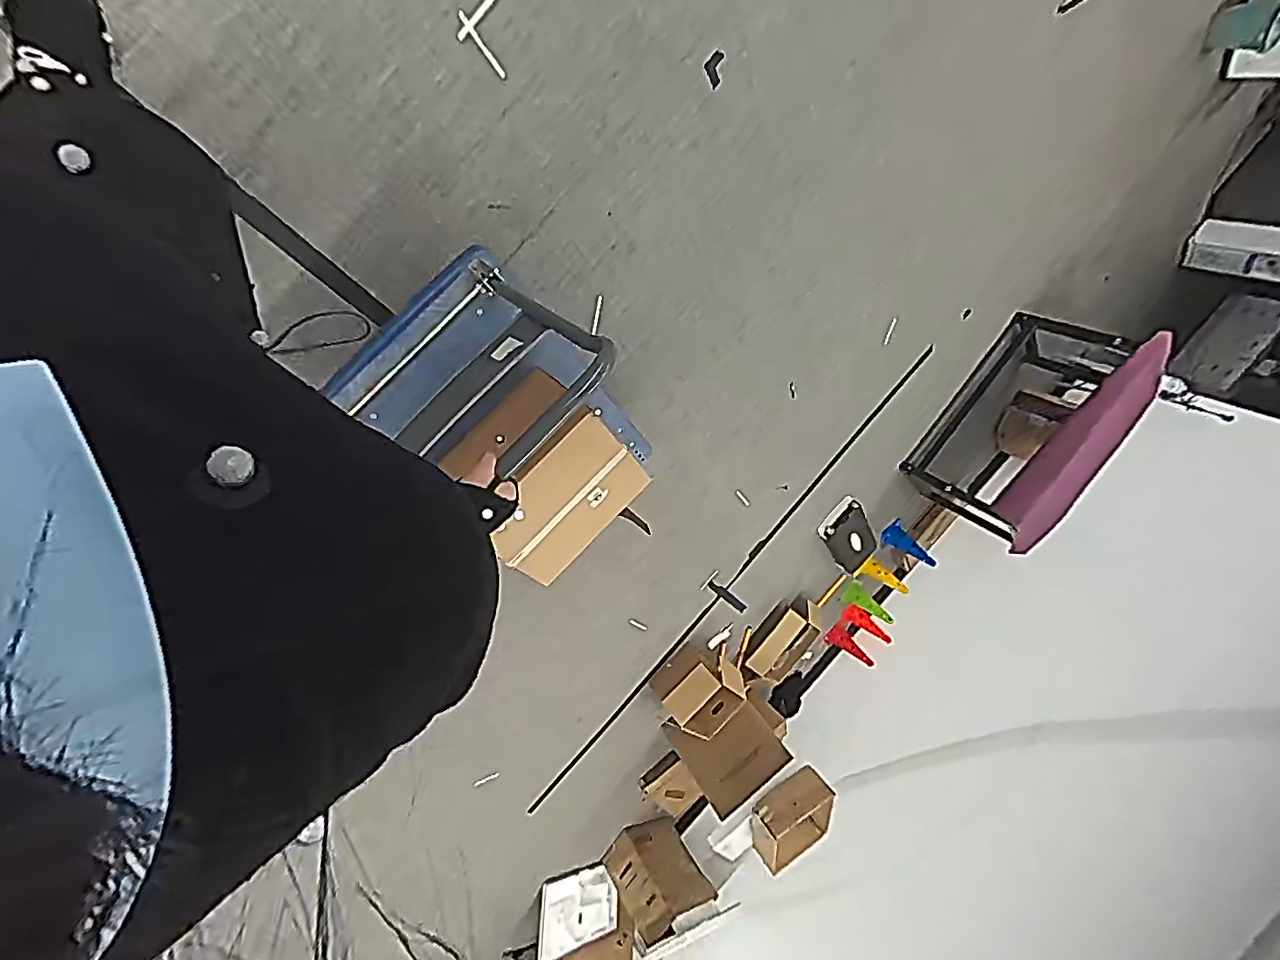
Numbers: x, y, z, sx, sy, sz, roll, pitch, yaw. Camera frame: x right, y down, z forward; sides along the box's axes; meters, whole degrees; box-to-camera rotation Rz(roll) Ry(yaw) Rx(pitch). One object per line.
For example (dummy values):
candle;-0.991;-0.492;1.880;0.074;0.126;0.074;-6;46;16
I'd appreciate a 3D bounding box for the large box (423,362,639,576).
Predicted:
large box;-0.289;-0.032;1.433;0.408;0.320;0.320;-46;137;-5
